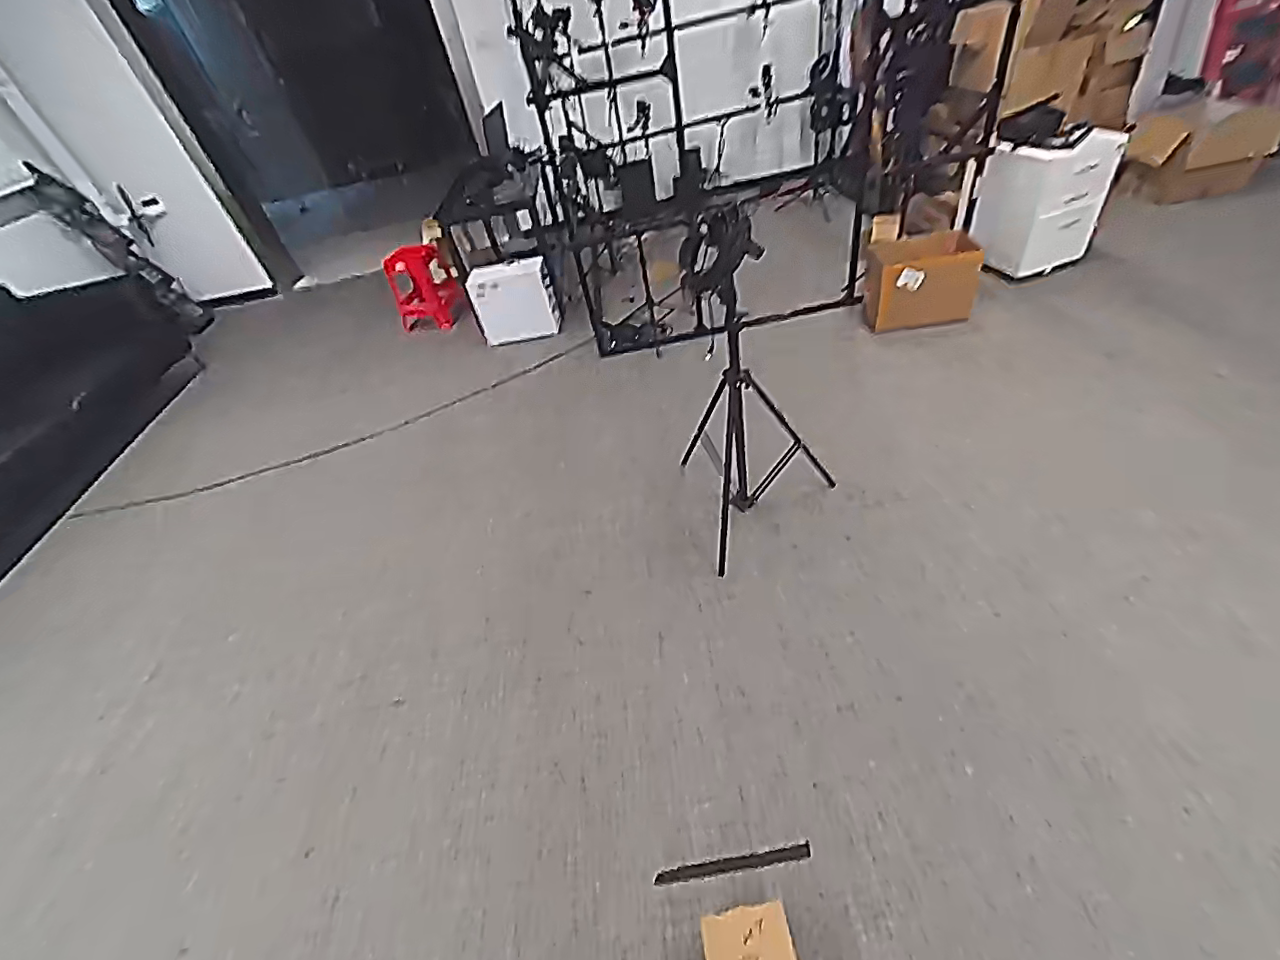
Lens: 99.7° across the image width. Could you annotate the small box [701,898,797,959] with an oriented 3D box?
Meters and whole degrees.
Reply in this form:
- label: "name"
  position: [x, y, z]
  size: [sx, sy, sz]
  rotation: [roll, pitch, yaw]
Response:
- label: "small box"
  position: [0.224, 0.949, 1.051]
  size: [0.168, 0.176, 0.179]
  rotation: [-12, 42, 1]
